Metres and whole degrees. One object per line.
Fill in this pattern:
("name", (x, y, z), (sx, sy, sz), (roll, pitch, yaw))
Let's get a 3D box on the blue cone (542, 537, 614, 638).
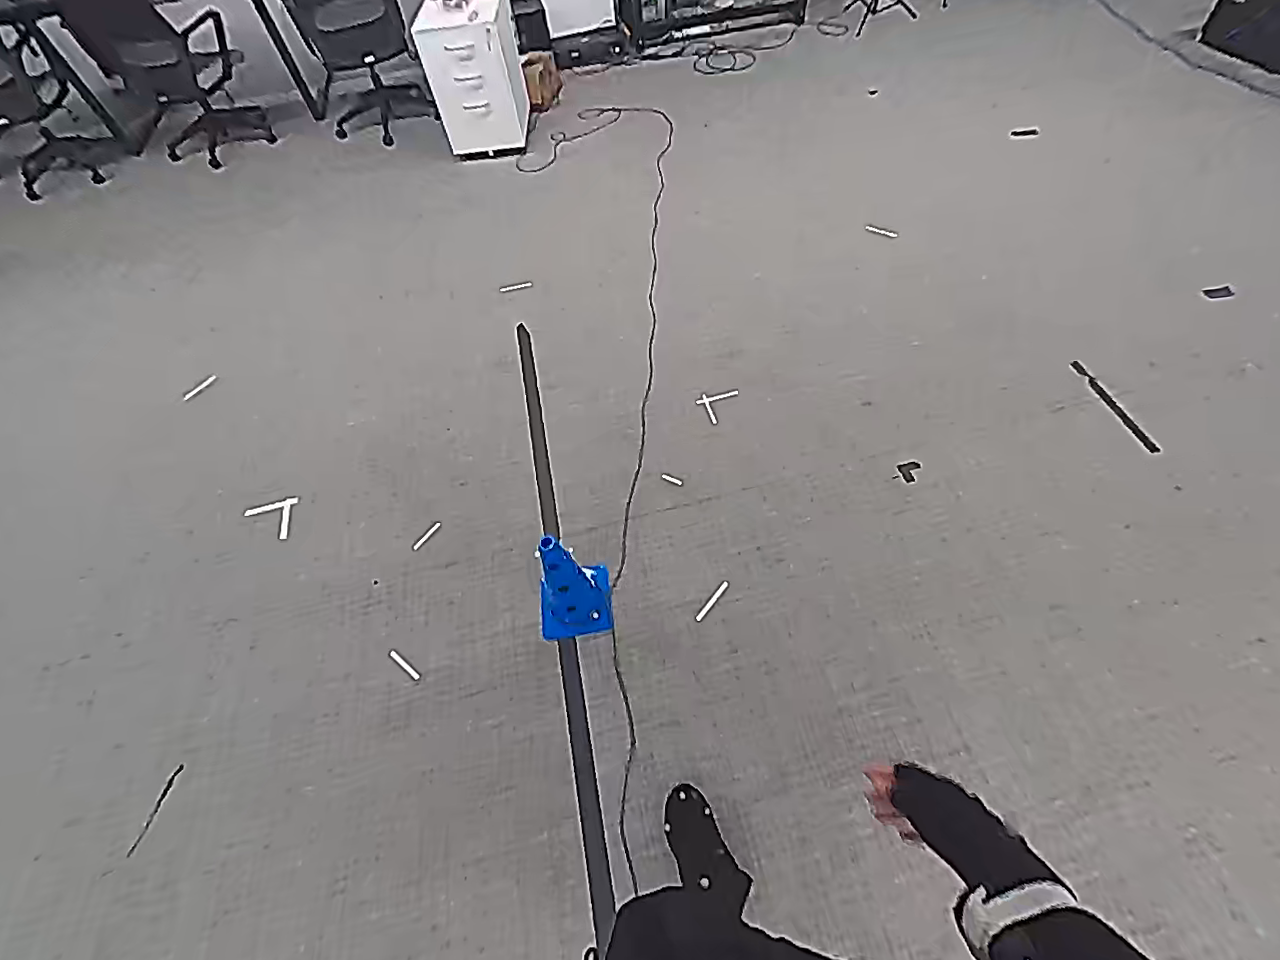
("blue cone", (-0.190, 0.241, 1.371), (0.193, 0.380, 0.192), (-11, 55, -2))
